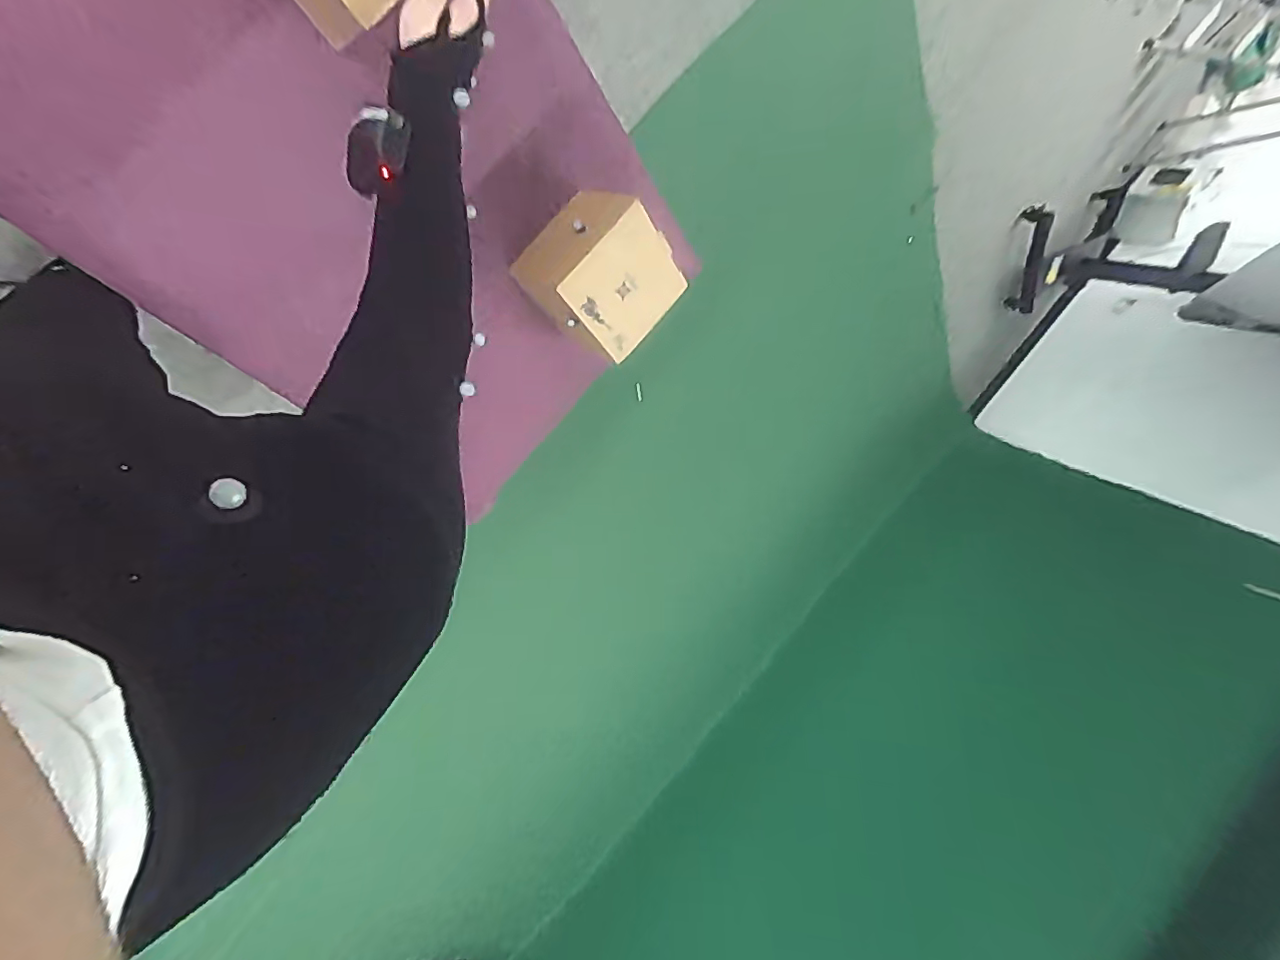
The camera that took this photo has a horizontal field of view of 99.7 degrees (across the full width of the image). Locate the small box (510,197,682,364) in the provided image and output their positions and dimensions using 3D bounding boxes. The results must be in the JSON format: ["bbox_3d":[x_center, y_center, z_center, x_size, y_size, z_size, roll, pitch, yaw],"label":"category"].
[{"bbox_3d":[-0.072,-0.321,0.856,0.179,0.176,0.168,-49,135,-4],"label":"small box"}]

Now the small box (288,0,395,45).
[{"bbox_3d":[-0.293,-0.568,0.520,0.179,0.176,0.168,-48,135,-5],"label":"small box"}]
